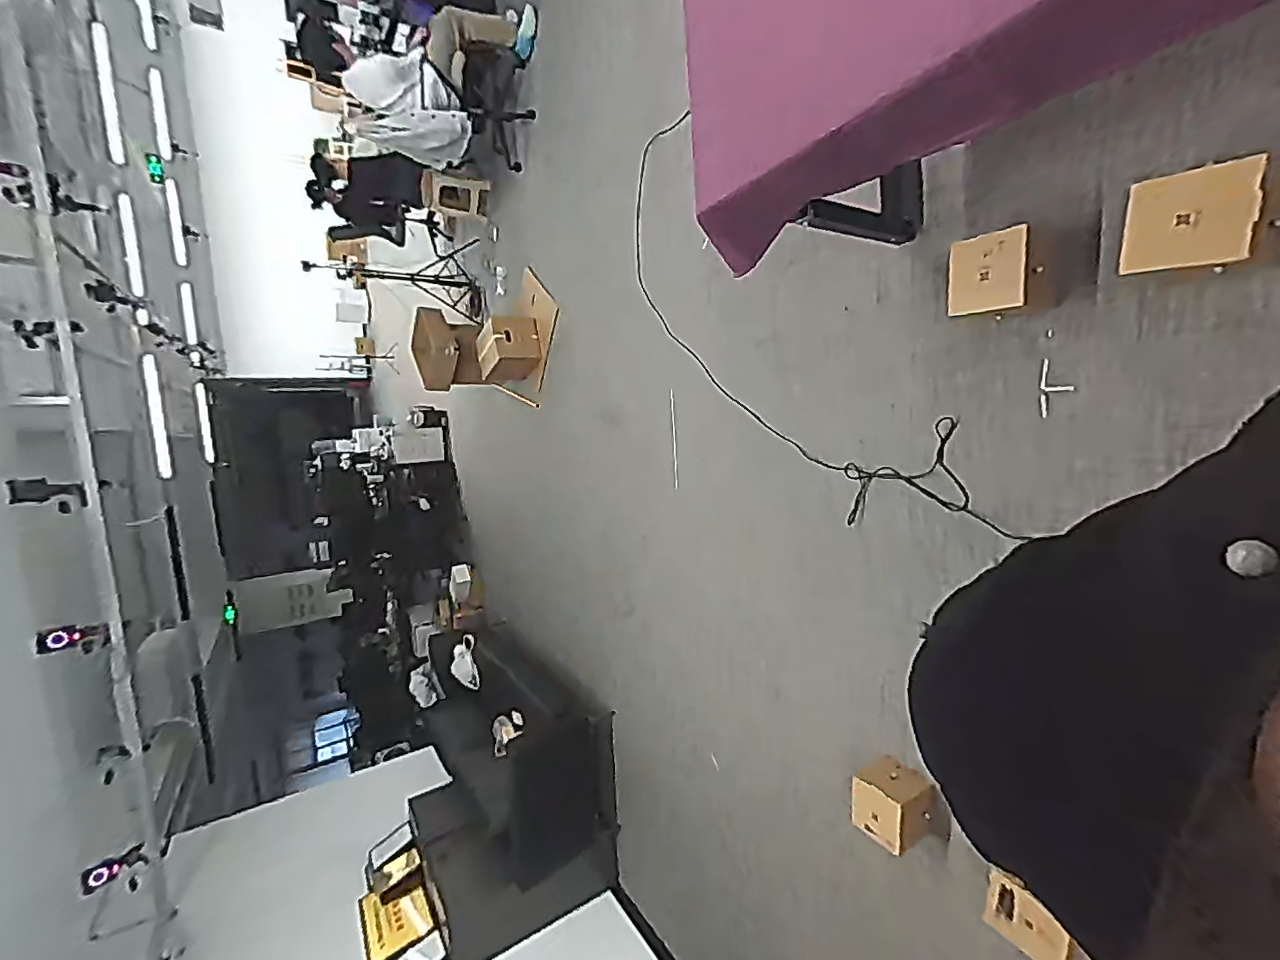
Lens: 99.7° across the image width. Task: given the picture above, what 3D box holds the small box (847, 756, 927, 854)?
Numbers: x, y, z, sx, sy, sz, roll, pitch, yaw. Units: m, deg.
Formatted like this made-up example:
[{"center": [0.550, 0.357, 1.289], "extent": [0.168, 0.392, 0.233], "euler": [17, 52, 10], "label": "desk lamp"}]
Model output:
[{"center": [0.781, 1.013, 1.705], "extent": [0.168, 0.176, 0.179], "euler": [13, 106, 57], "label": "small box"}]
